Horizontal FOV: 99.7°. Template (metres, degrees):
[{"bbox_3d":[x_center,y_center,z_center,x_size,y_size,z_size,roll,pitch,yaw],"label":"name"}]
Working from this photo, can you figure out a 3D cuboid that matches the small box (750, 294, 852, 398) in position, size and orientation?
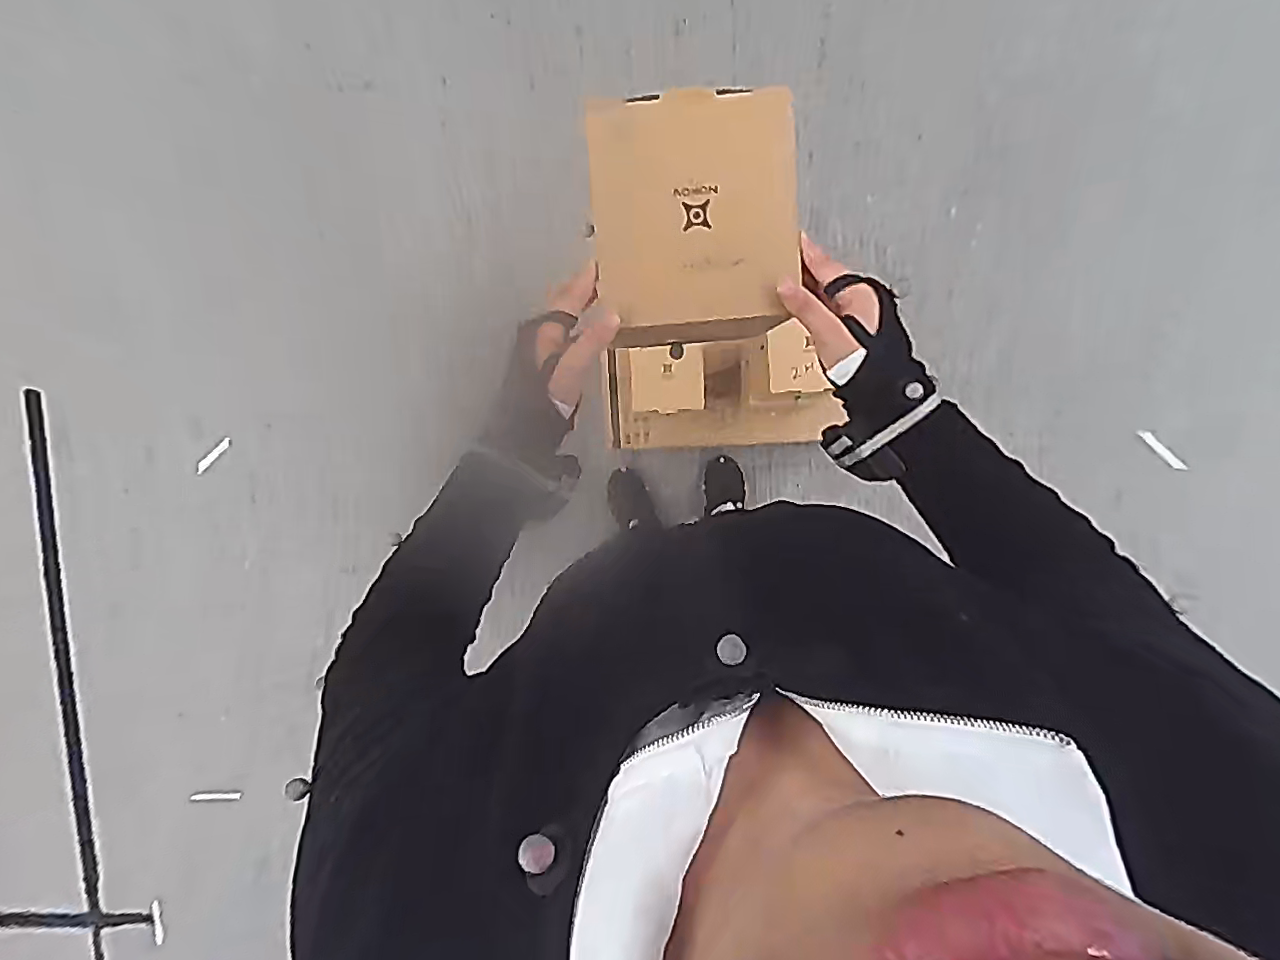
[{"bbox_3d":[0.327,-0.271,1.123,0.168,0.176,0.179,-4,93,3],"label":"small box"}]

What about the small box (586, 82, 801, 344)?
[{"bbox_3d":[0.042,-0.229,0.509,0.168,0.176,0.179,-6,100,-1],"label":"small box"}]

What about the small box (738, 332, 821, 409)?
[{"bbox_3d":[0.328,-0.265,1.289,0.168,0.176,0.179,1,94,2],"label":"small box"}]

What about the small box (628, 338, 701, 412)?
[{"bbox_3d":[0.060,-0.253,1.298,0.168,0.176,0.179,-2,94,3],"label":"small box"}]
